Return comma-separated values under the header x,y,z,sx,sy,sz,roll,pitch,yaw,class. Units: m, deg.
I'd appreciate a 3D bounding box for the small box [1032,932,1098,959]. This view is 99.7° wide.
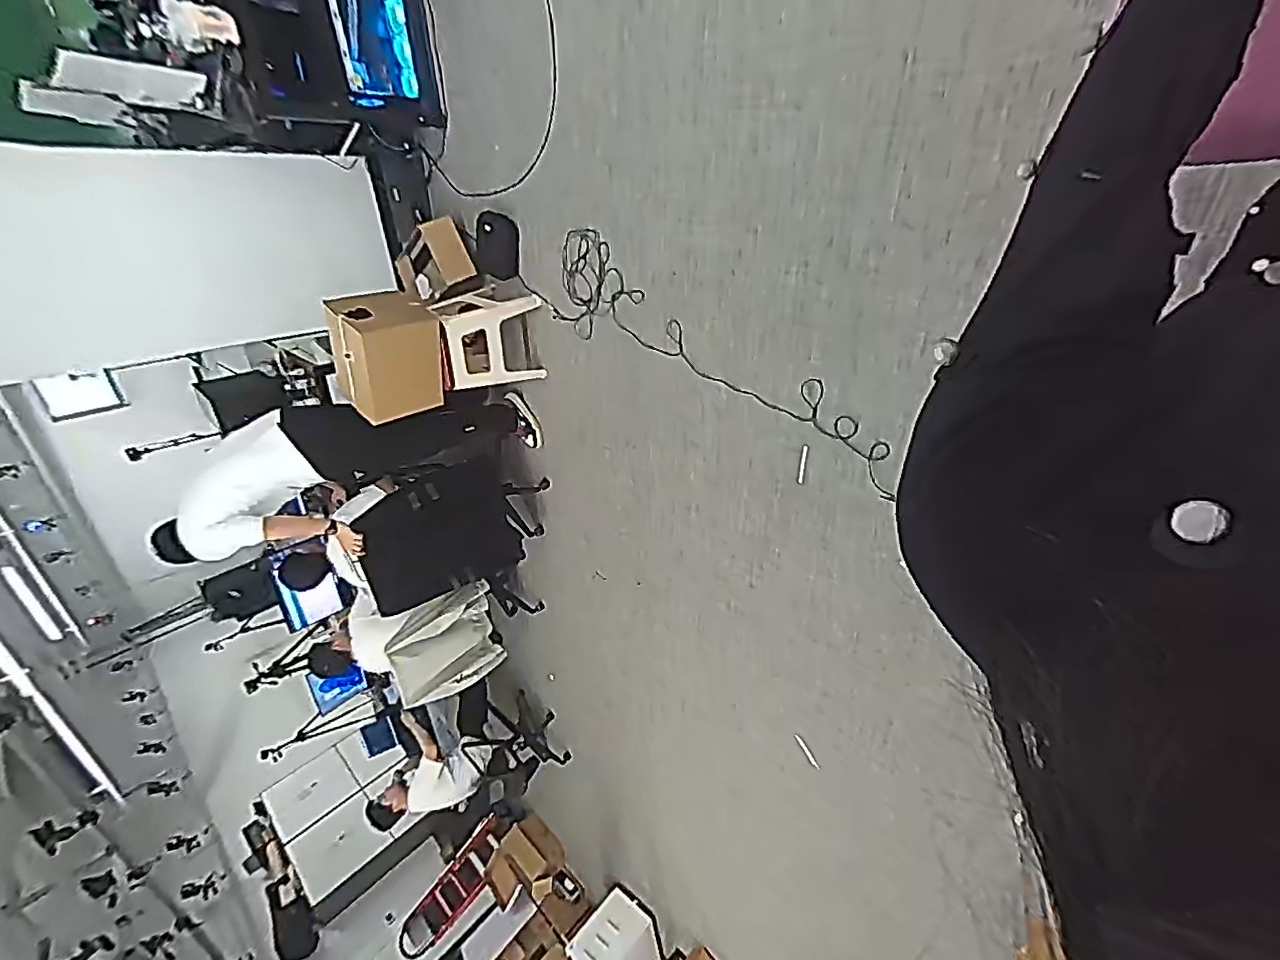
x,y,z,sx,sy,sz,roll,pitch,yaw,class
1.377,1.611,1.735,0.179,0.176,0.168,26,129,36,small box
